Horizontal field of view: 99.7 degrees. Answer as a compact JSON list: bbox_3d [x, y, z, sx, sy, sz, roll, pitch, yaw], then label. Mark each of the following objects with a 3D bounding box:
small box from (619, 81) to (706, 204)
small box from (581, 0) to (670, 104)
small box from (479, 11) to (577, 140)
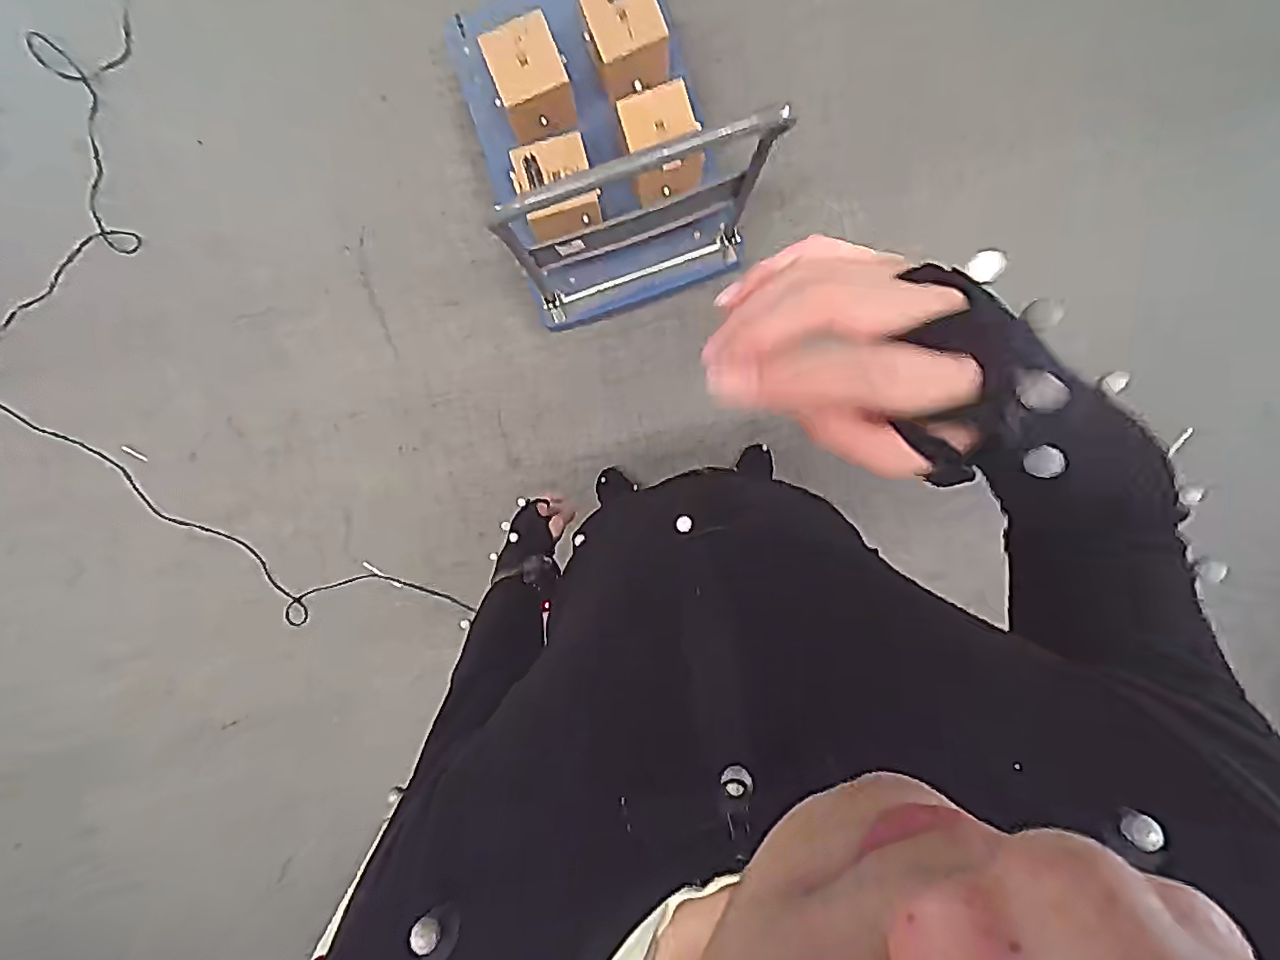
[{"bbox_3d":[0.053,-0.820,1.330,0.168,0.176,0.179,-18,93,3],"label":"small box"},{"bbox_3d":[-0.033,-1.076,1.317,0.168,0.176,0.179,-22,93,5],"label":"small box"},{"bbox_3d":[-0.266,-0.980,1.334,0.168,0.176,0.179,-22,92,3],"label":"small box"}]
